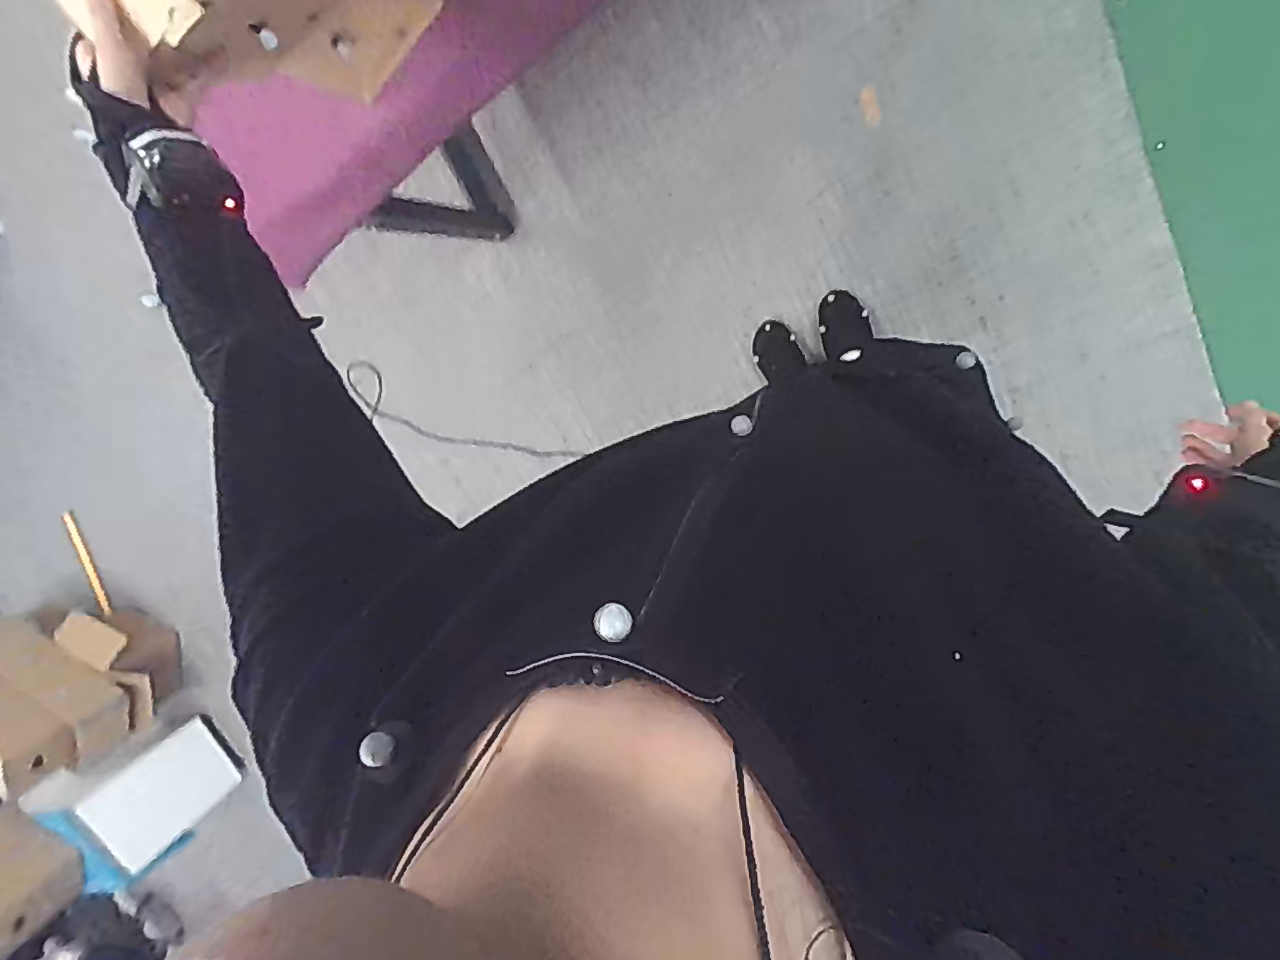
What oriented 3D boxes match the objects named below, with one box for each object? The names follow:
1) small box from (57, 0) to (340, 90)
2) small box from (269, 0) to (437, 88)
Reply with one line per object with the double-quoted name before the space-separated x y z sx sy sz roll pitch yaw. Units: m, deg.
"small box" -0.379 -0.461 0.438 0.168 0.176 0.179 -19 123 23
"small box" -0.363 -0.575 0.592 0.168 0.176 0.179 -30 98 24
